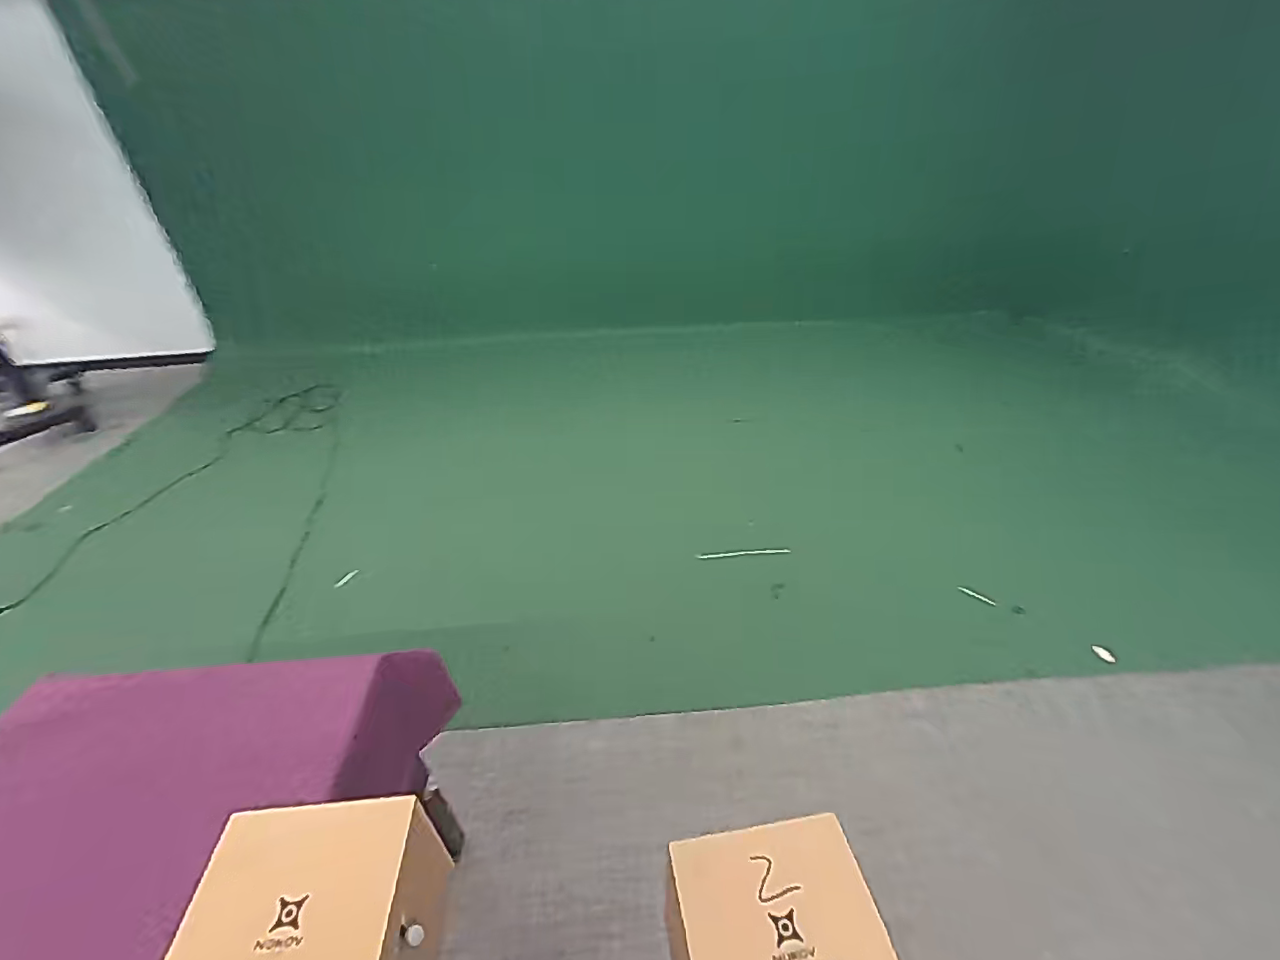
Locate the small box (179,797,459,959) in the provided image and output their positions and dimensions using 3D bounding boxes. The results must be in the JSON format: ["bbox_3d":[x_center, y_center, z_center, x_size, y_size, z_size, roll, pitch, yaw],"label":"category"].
[{"bbox_3d":[-0.269,0.412,0.478,0.168,0.176,0.179,-2,38,-3],"label":"small box"}]
